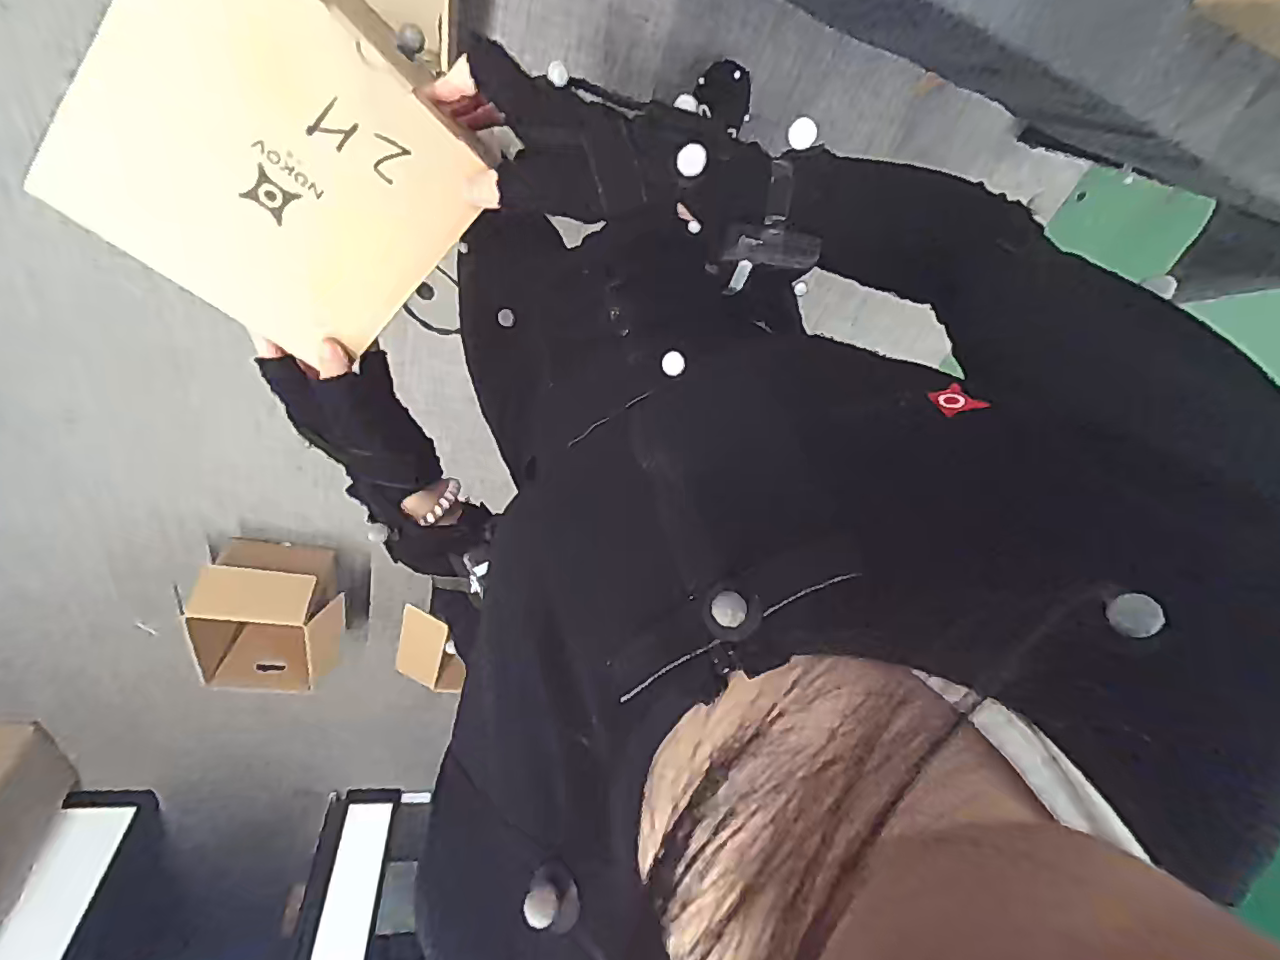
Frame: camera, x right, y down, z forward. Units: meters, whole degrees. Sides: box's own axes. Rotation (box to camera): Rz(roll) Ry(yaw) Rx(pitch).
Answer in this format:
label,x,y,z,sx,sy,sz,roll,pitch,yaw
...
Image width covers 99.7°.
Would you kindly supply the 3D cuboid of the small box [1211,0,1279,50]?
label,x,y,z,sx,sy,sz,roll,pitch,yaw
small box,0.637,-0.449,0.425,0.179,0.176,0.168,7,129,-17
